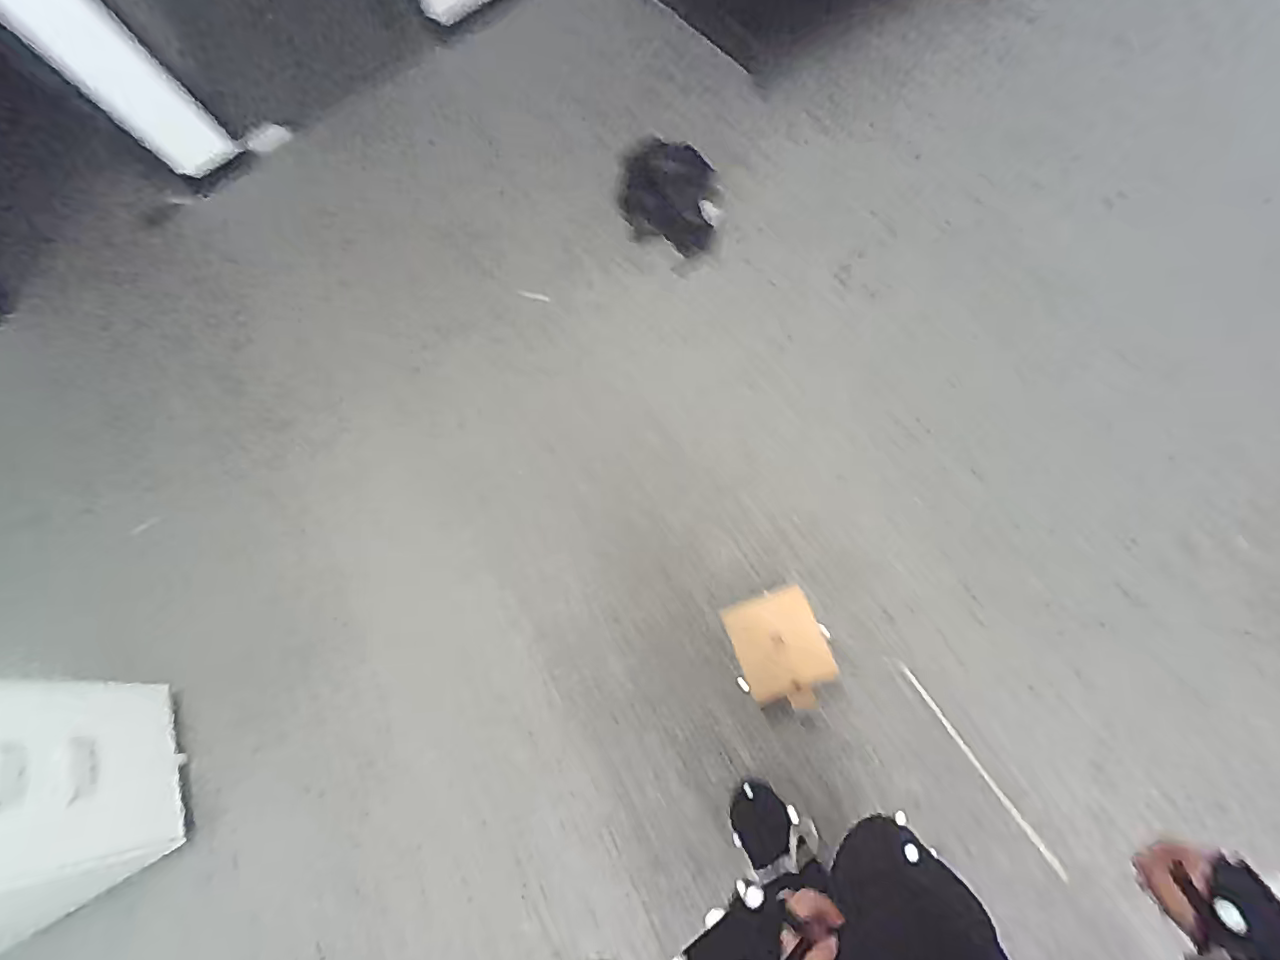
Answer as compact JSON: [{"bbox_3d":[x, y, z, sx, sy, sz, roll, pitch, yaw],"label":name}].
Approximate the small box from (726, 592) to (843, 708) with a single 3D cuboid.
[{"bbox_3d":[0.282,0.347,1.089,0.168,0.176,0.179,-21,65,4],"label":"small box"}]
